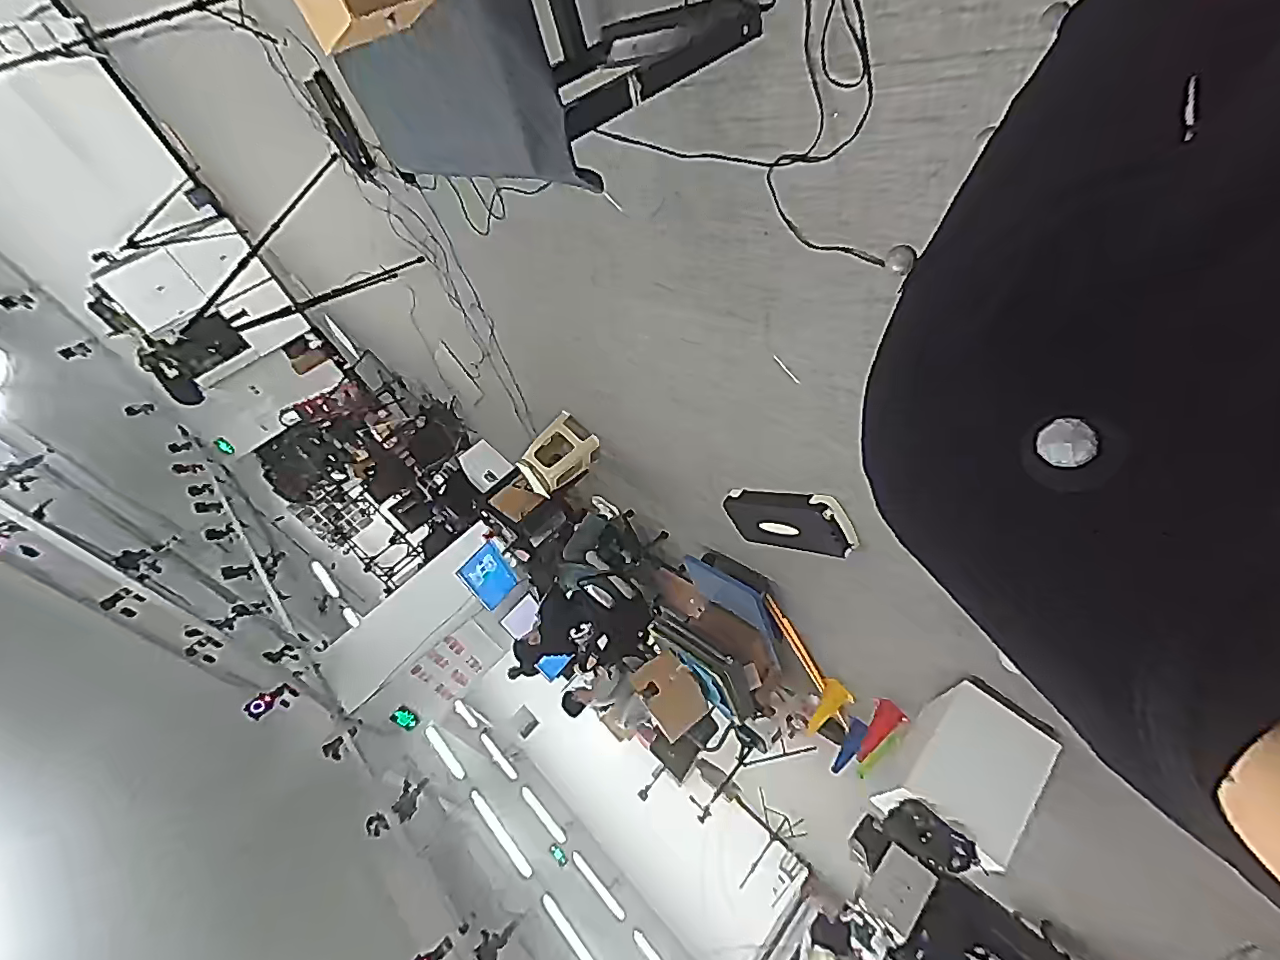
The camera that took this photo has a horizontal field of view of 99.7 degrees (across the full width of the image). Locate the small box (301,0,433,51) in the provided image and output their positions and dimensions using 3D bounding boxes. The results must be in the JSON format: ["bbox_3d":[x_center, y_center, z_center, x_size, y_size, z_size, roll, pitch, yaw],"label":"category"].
[{"bbox_3d":[-0.435,-0.803,0.824,0.179,0.176,0.168,23,146,48],"label":"small box"}]
